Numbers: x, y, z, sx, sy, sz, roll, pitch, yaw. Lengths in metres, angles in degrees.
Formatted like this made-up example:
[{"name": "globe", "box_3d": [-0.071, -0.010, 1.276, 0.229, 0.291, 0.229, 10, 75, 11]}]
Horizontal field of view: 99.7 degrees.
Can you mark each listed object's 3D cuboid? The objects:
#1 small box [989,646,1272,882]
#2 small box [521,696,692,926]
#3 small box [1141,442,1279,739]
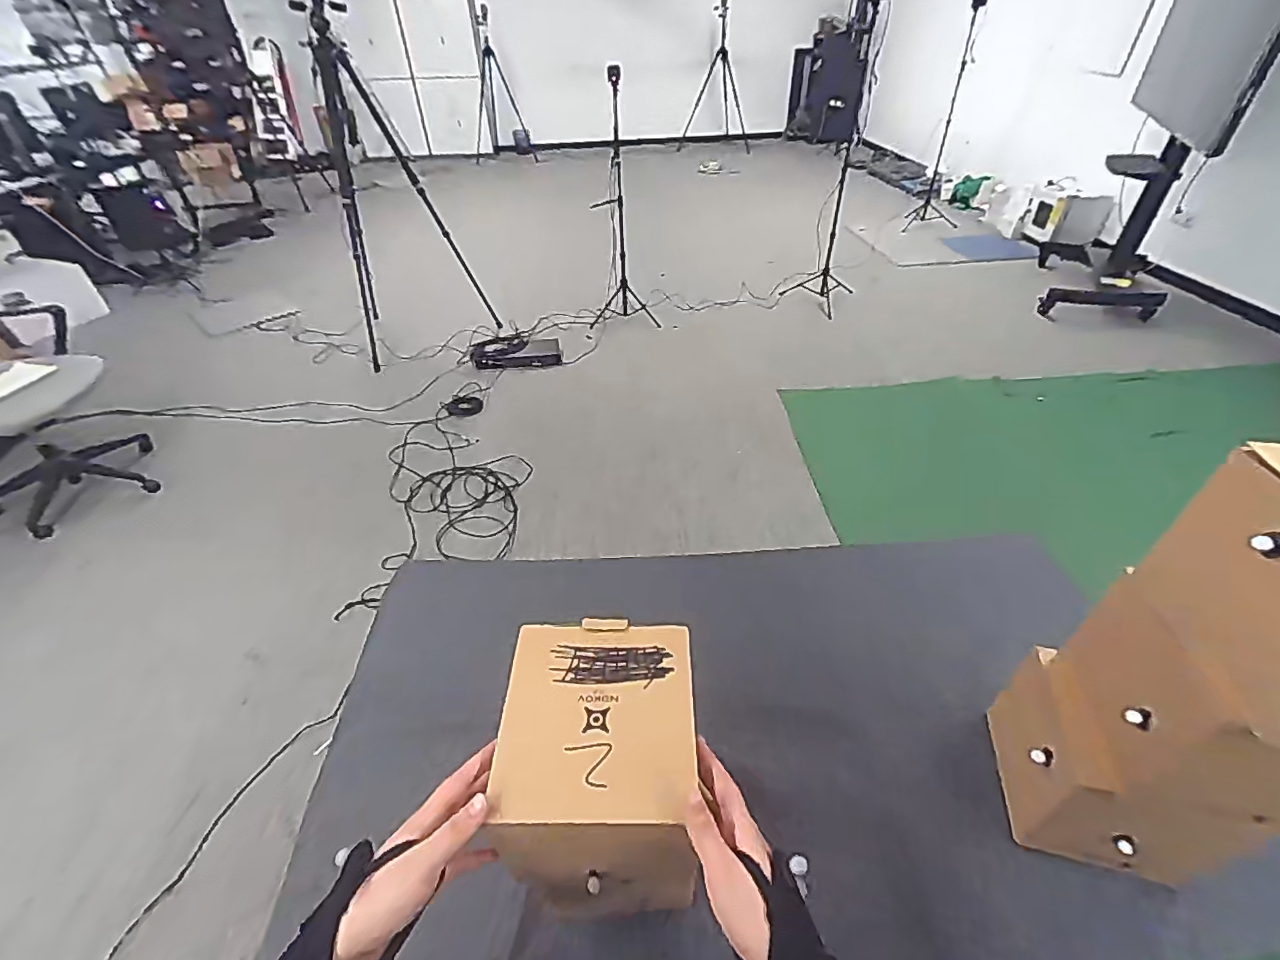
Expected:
[{"name": "small box", "box_3d": [0.545, 0.333, 0.638, 0.168, 0.176, 0.179, 9, 40, 13]}, {"name": "small box", "box_3d": [-0.035, 0.378, 0.625, 0.168, 0.176, 0.179, -4, 39, -2]}, {"name": "small box", "box_3d": [0.560, 0.090, 0.418, 0.168, 0.176, 0.179, 2, 40, 5]}]
